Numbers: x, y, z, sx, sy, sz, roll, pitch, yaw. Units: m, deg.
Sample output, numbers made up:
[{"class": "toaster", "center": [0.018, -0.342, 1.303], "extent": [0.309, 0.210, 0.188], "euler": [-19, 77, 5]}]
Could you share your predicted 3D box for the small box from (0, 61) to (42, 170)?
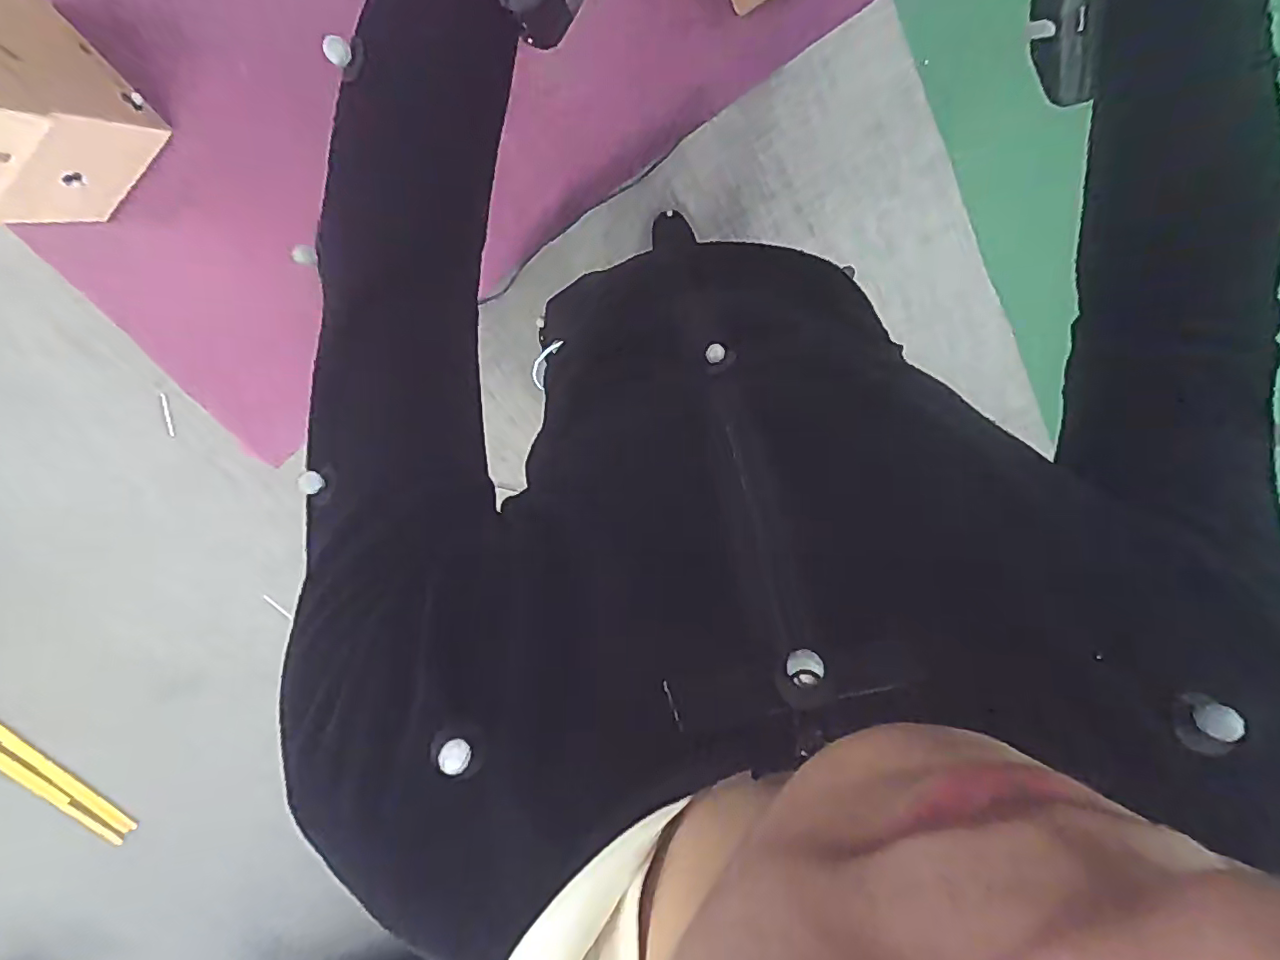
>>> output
[{"class": "small box", "center": [-0.715, -0.359, 0.473], "extent": [0.168, 0.176, 0.179], "euler": [-34, 111, 16]}]

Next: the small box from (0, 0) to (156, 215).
[{"class": "small box", "center": [-0.720, -0.433, 0.617], "extent": [0.179, 0.176, 0.168], "euler": [-34, 111, 17]}]
